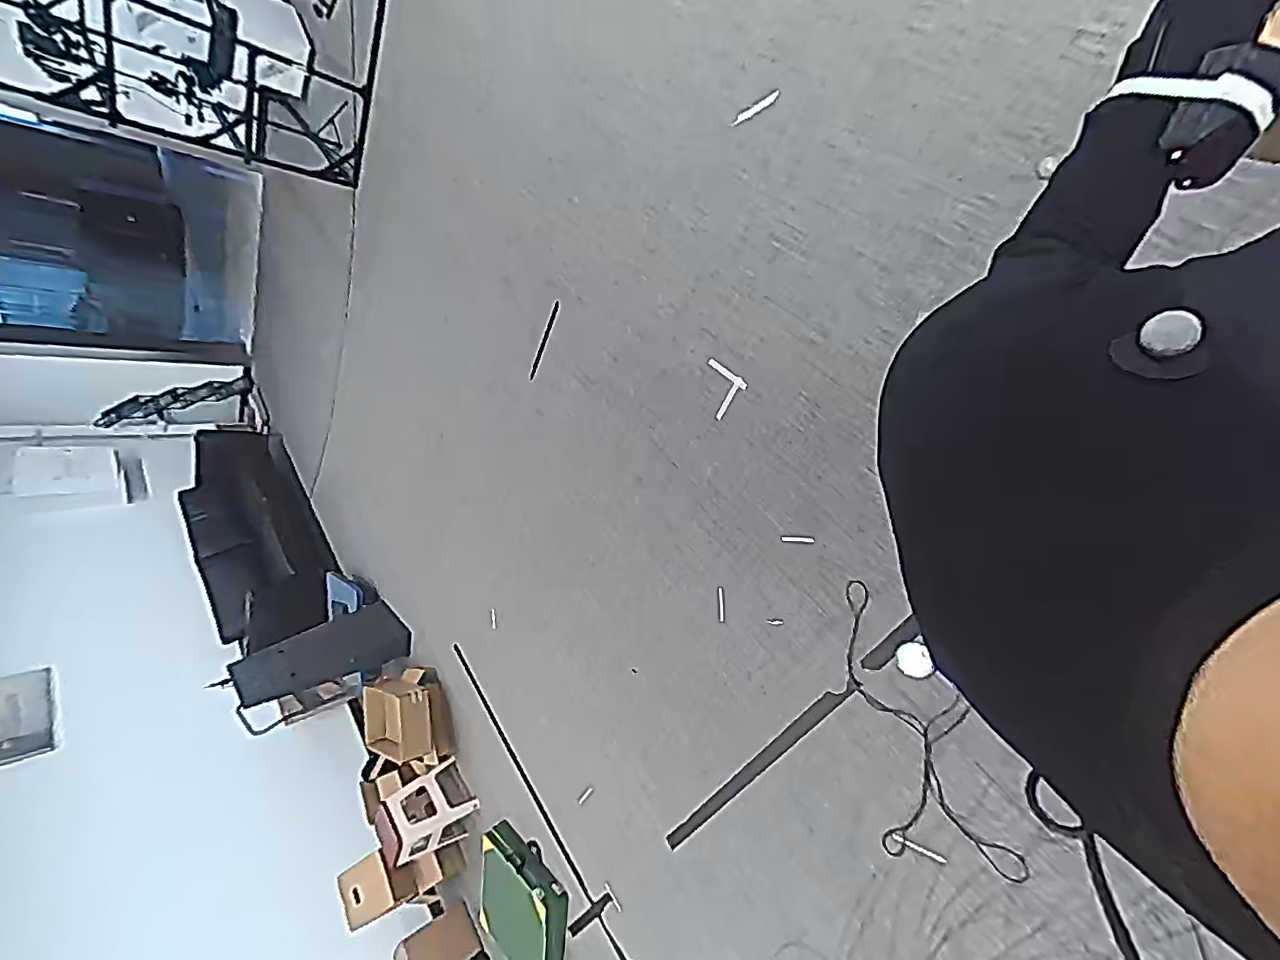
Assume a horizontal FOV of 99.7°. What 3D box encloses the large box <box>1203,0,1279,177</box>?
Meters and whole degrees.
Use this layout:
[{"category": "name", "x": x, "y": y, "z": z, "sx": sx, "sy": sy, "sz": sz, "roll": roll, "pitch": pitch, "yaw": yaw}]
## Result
[{"category": "large box", "x": 0.673, "y": -0.332, "z": 0.302, "sx": 0.408, "sy": 0.320, "sz": 0.320, "roll": 36, "pitch": 129, "yaw": 30}]
